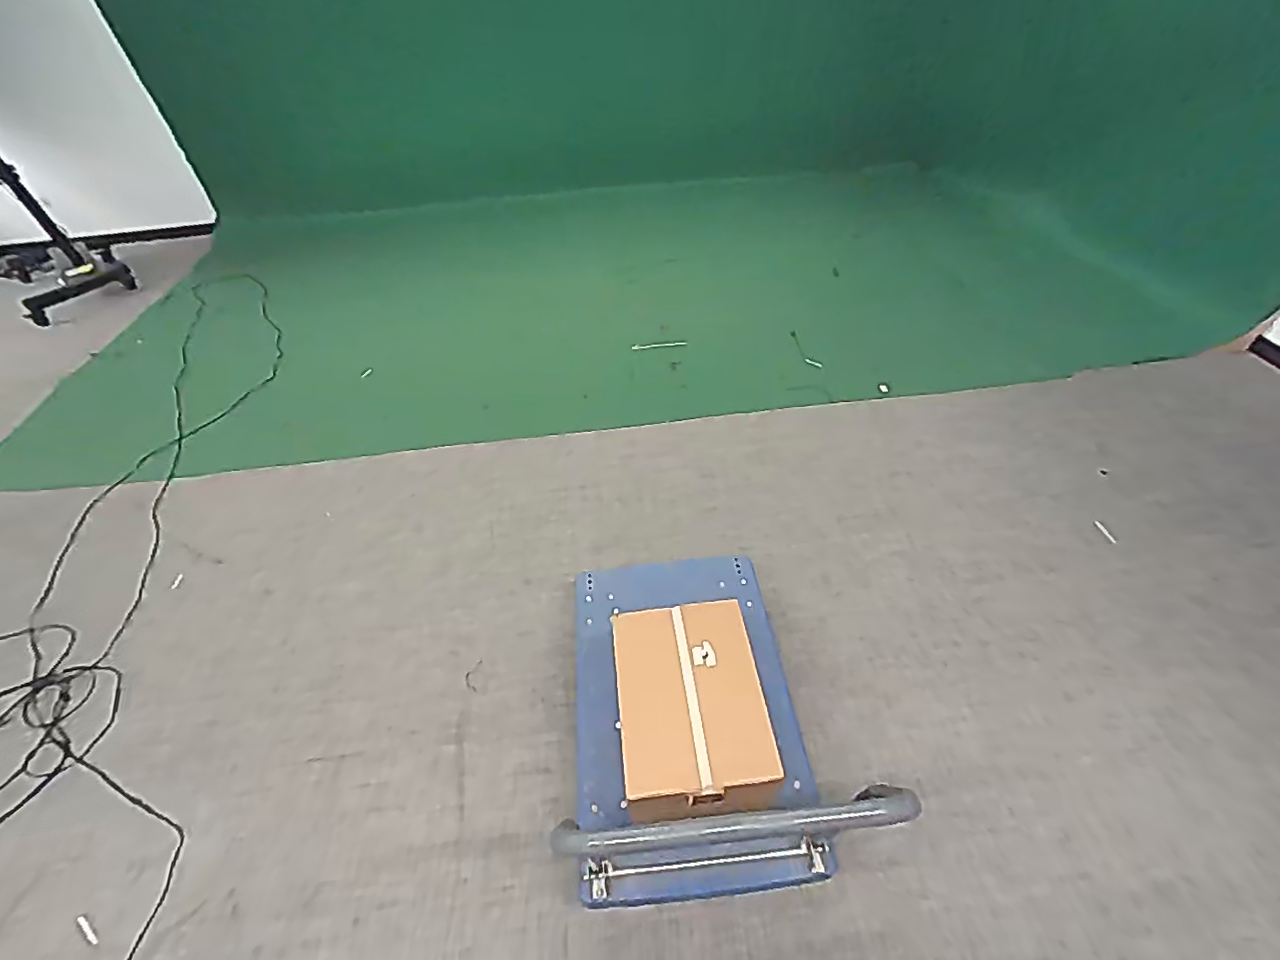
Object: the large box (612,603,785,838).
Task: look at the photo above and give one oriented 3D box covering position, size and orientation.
[{"bbox_3d":[0.119,0.563,1.282,0.320,0.320,0.408,-7,45,-2],"label":"large box"}]
